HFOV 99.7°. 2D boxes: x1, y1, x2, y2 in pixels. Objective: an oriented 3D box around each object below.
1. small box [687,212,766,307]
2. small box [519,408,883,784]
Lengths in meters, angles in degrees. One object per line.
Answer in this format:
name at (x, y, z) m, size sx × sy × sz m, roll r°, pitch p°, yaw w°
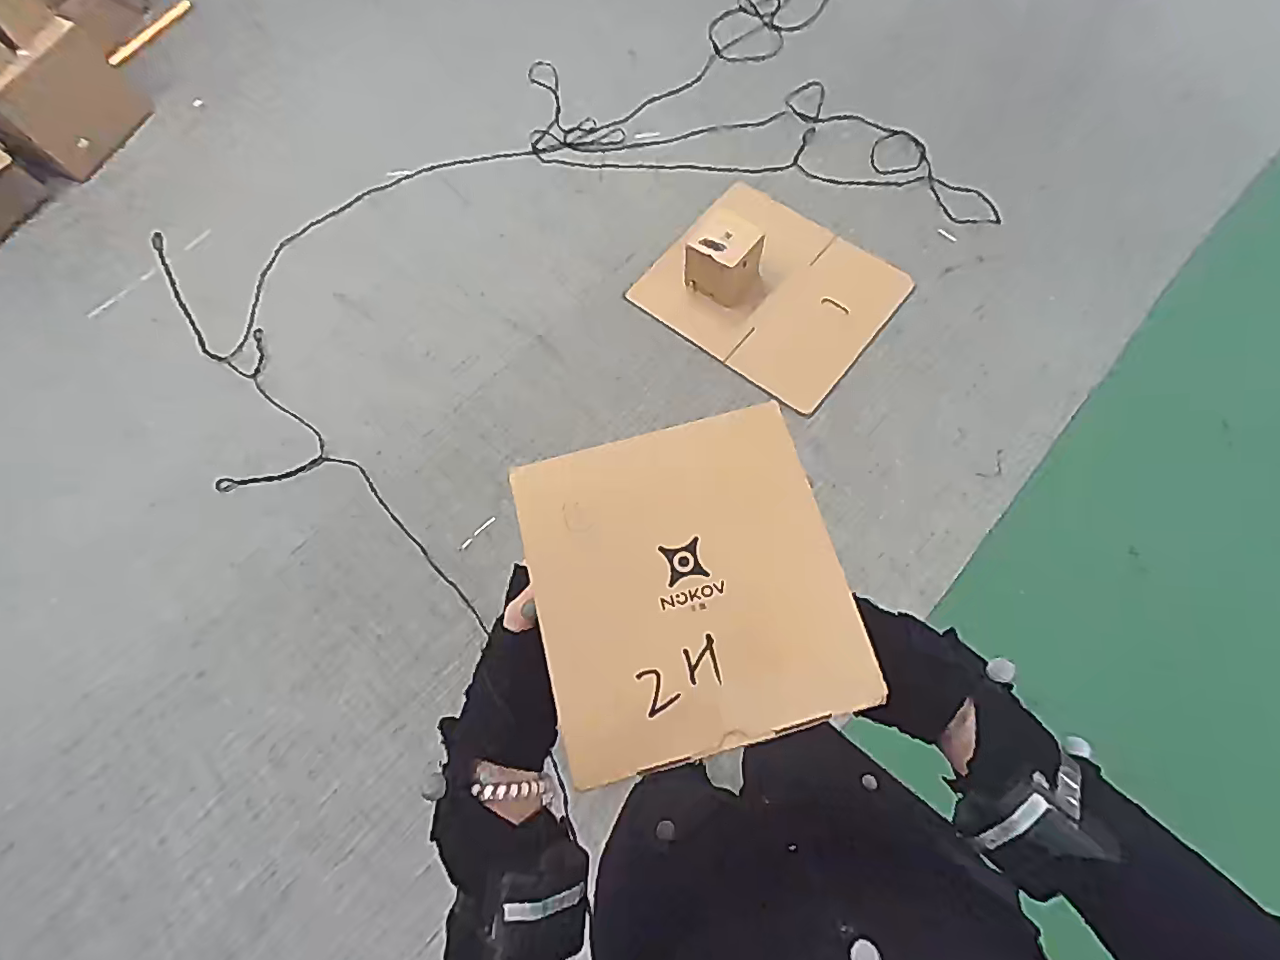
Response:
small box at (0.257, -0.663, 1.641) m, size 0.168 × 0.176 × 0.179 m, roll 36°, pitch 75°, yaw 15°
small box at (0.027, 0.078, 0.372) m, size 0.168 × 0.176 × 0.179 m, roll -14°, pitch 73°, yaw -3°
